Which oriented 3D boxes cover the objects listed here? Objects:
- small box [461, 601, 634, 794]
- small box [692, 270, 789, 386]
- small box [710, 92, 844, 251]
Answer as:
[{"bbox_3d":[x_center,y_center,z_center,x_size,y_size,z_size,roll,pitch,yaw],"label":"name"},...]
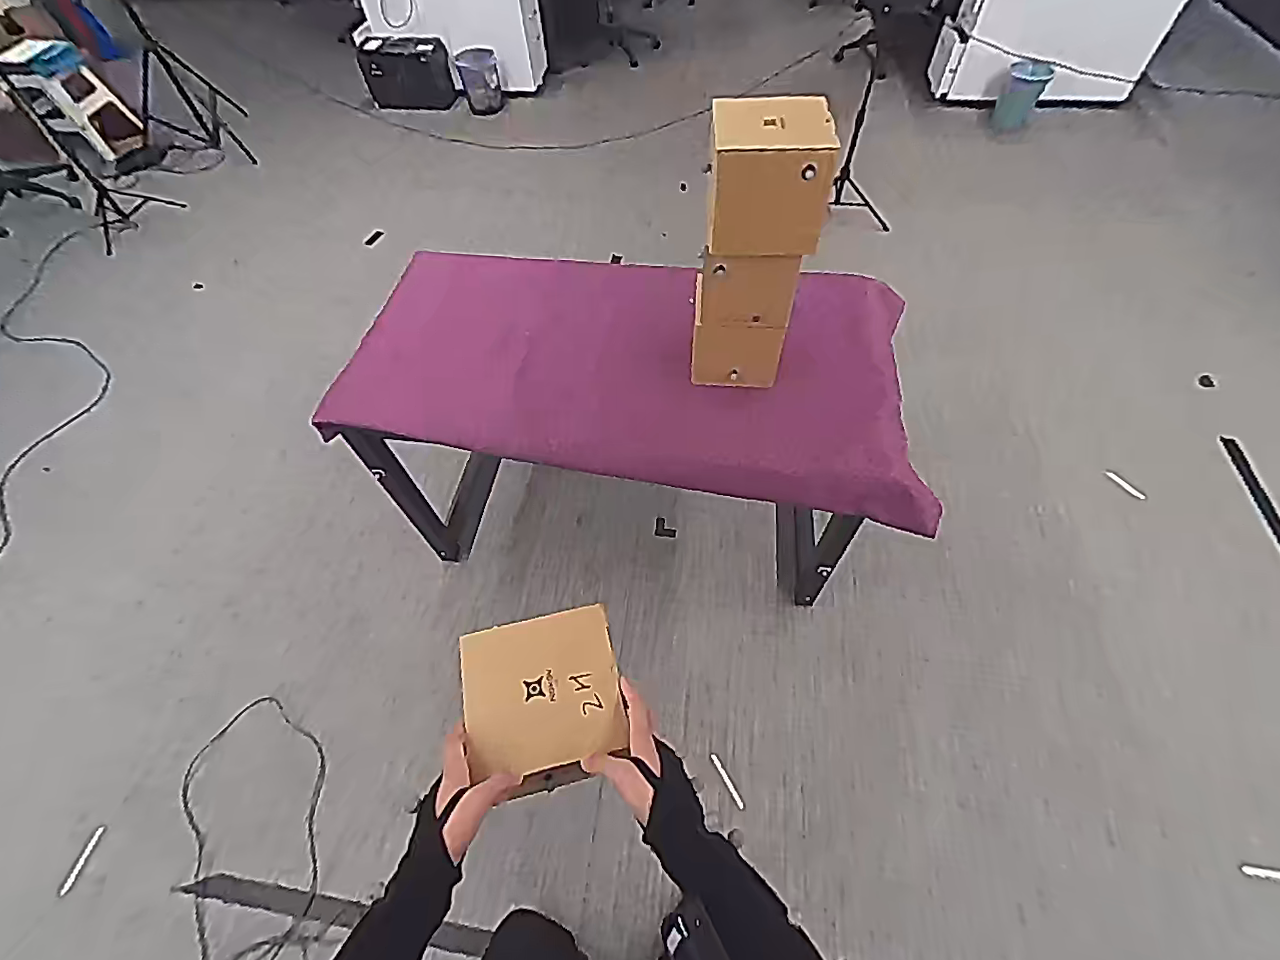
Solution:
[{"bbox_3d":[-0.107,0.271,0.664,0.179,0.176,0.168,-11,57,-8],"label":"small box"},{"bbox_3d":[0.206,-0.315,1.136,0.179,0.176,0.168,4,56,4],"label":"small box"},{"bbox_3d":[0.202,-0.481,0.853,0.179,0.176,0.168,1,56,3],"label":"small box"}]
